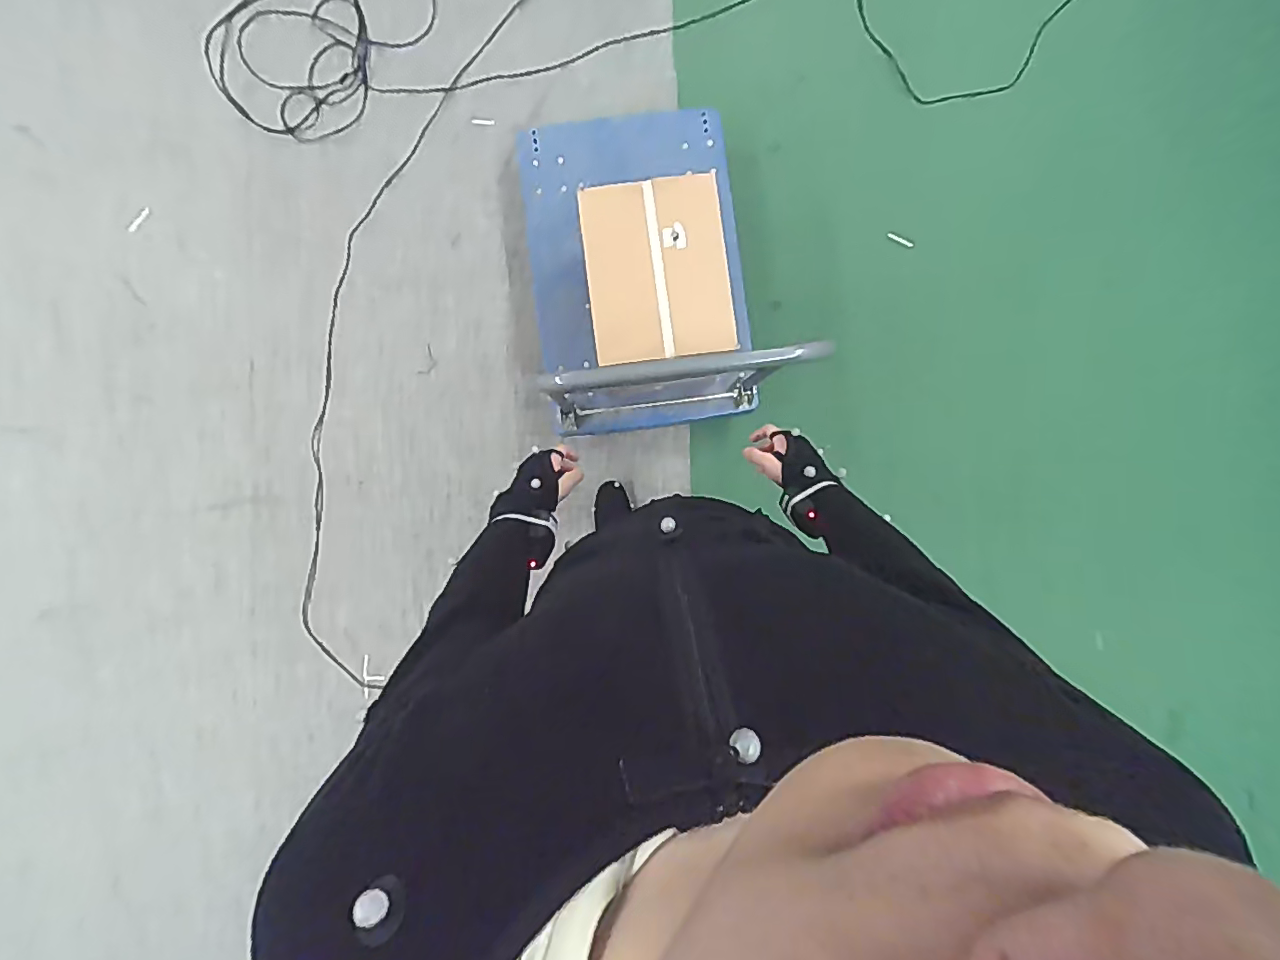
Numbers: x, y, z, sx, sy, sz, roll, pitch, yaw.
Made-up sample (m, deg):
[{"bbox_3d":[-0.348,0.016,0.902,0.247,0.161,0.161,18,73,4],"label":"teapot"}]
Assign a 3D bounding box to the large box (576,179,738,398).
[{"bbox_3d":[0.035,-0.448,1.342,0.320,0.320,0.408,-8,87,-2],"label":"large box"}]
